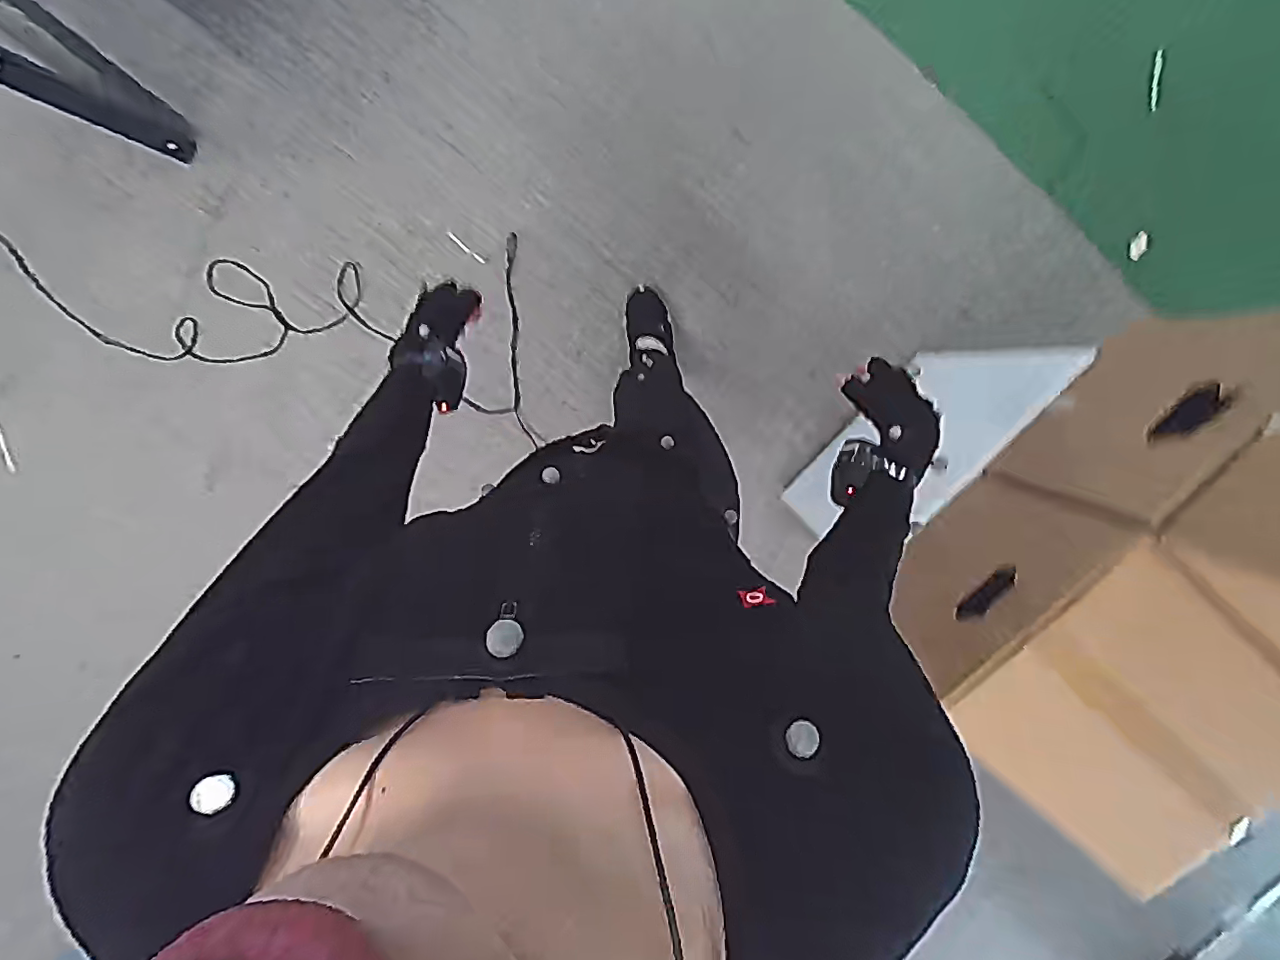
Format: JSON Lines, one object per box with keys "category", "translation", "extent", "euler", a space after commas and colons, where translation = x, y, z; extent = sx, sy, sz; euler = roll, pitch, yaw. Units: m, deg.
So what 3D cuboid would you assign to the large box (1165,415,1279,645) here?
{"category": "large box", "translation": [0.794, 0.091, 0.429], "extent": [0.408, 0.320, 0.320], "euler": [36, 100, -8]}
